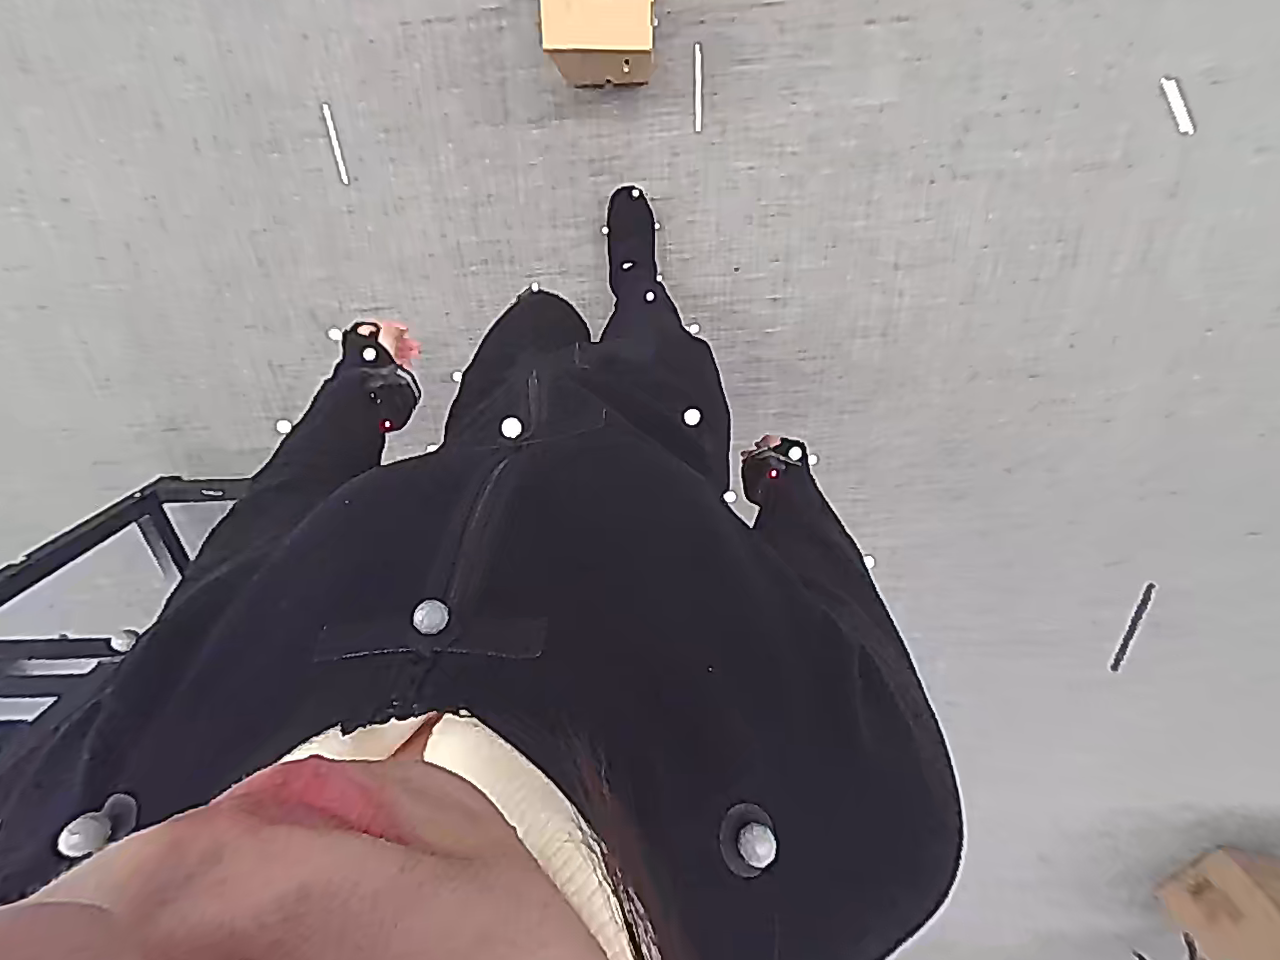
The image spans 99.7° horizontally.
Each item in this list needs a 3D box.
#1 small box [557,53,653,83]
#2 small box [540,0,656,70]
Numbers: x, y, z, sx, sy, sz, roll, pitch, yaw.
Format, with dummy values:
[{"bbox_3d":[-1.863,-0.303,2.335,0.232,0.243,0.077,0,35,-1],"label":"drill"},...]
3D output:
[{"bbox_3d":[-0.067,-0.859,1.013,0.179,0.176,0.168,-2,118,1],"label":"small box"},{"bbox_3d":[-0.063,-0.780,0.870,0.179,0.176,0.168,2,118,0],"label":"small box"}]
